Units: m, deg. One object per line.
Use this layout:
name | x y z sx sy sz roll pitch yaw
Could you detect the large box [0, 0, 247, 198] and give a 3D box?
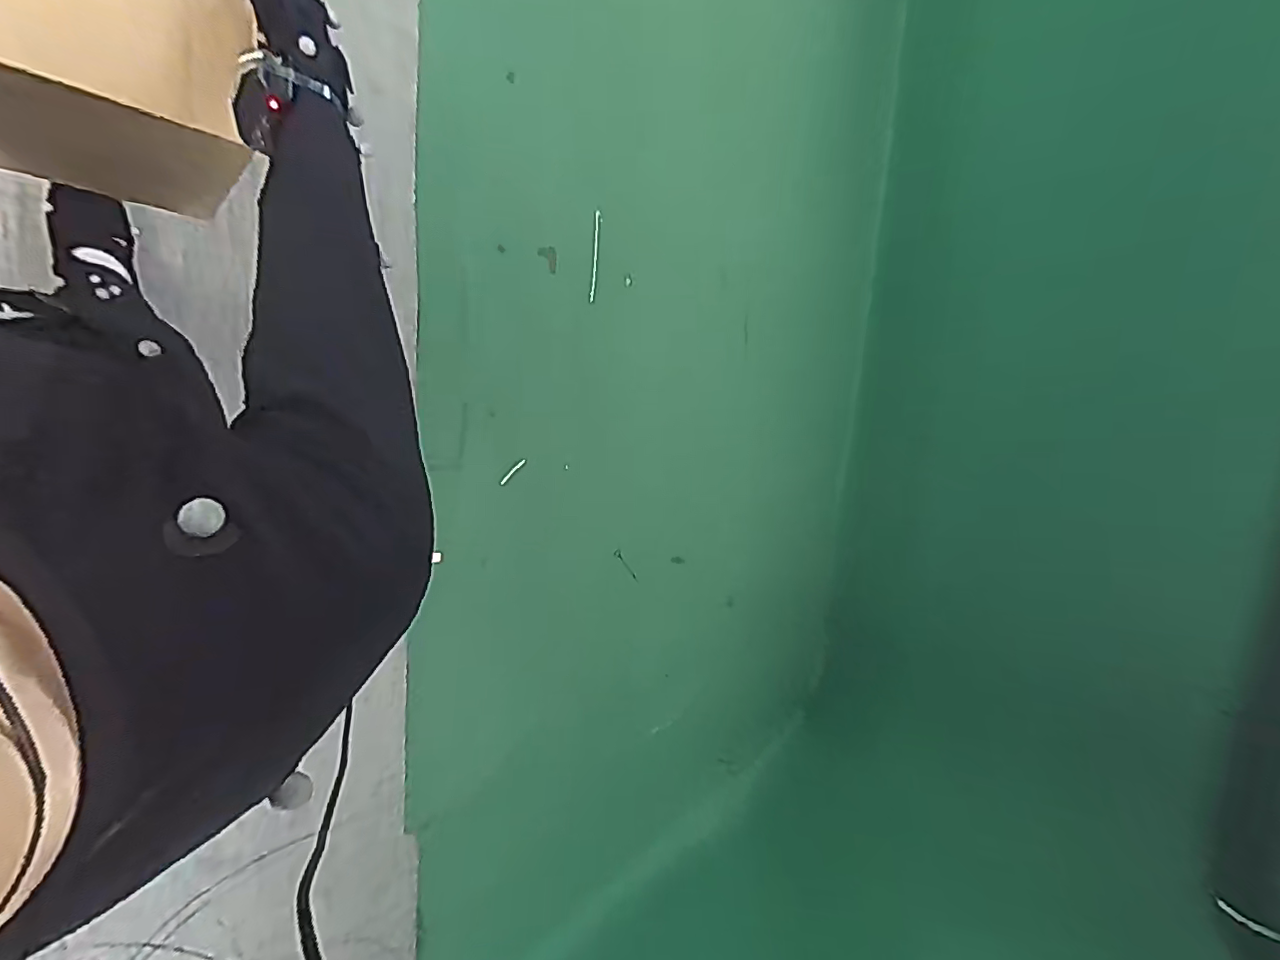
large box | -0.620 -0.500 0.475 0.408 0.320 0.320 -3 98 -45
